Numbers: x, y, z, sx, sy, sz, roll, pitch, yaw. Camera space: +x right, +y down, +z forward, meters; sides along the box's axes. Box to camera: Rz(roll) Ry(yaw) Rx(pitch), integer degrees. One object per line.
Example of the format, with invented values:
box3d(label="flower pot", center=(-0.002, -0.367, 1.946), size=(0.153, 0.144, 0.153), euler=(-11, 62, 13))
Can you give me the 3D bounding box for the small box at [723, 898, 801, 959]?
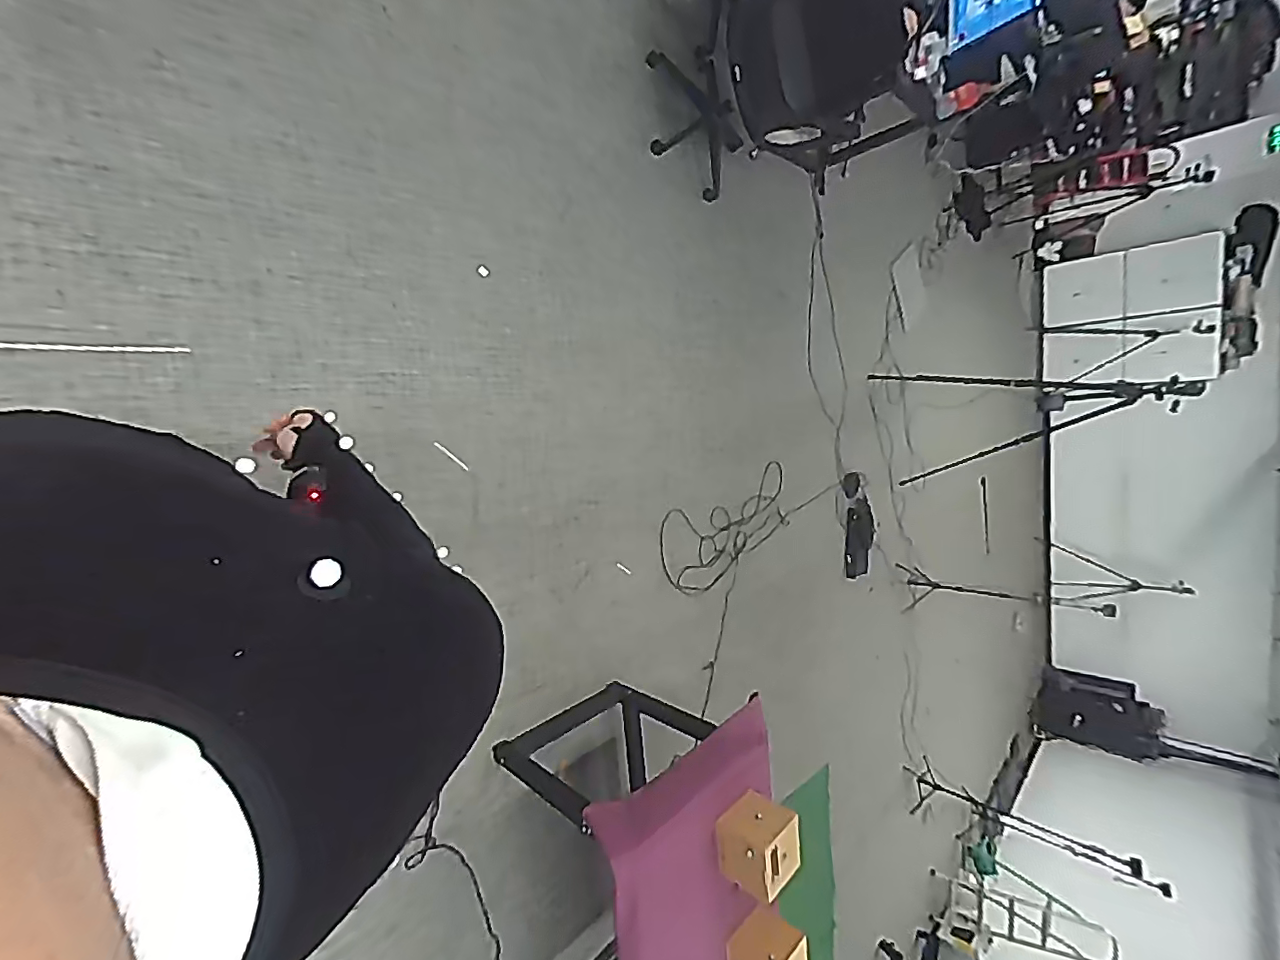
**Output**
box3d(label="small box", center=(0.370, 1.429, 1.633), size=(0.179, 0.176, 0.168), euler=(-11, 99, -43))
